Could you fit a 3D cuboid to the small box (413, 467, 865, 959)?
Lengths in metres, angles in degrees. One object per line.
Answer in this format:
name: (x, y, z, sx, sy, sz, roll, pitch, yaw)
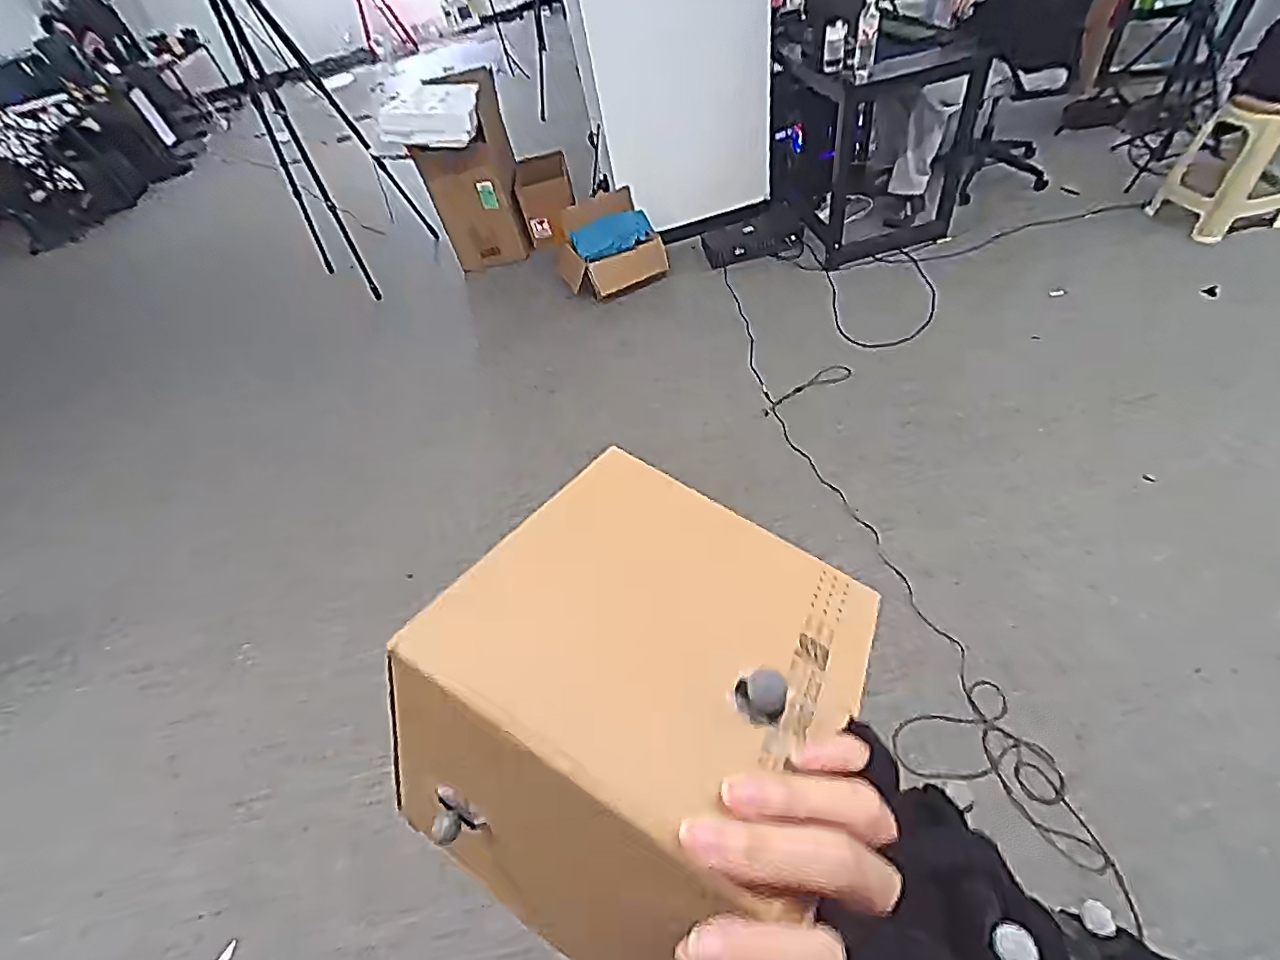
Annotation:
small box: (-0.002, 0.131, 0.306, 0.176, 0.179, 0.168, 29, 38, 12)
